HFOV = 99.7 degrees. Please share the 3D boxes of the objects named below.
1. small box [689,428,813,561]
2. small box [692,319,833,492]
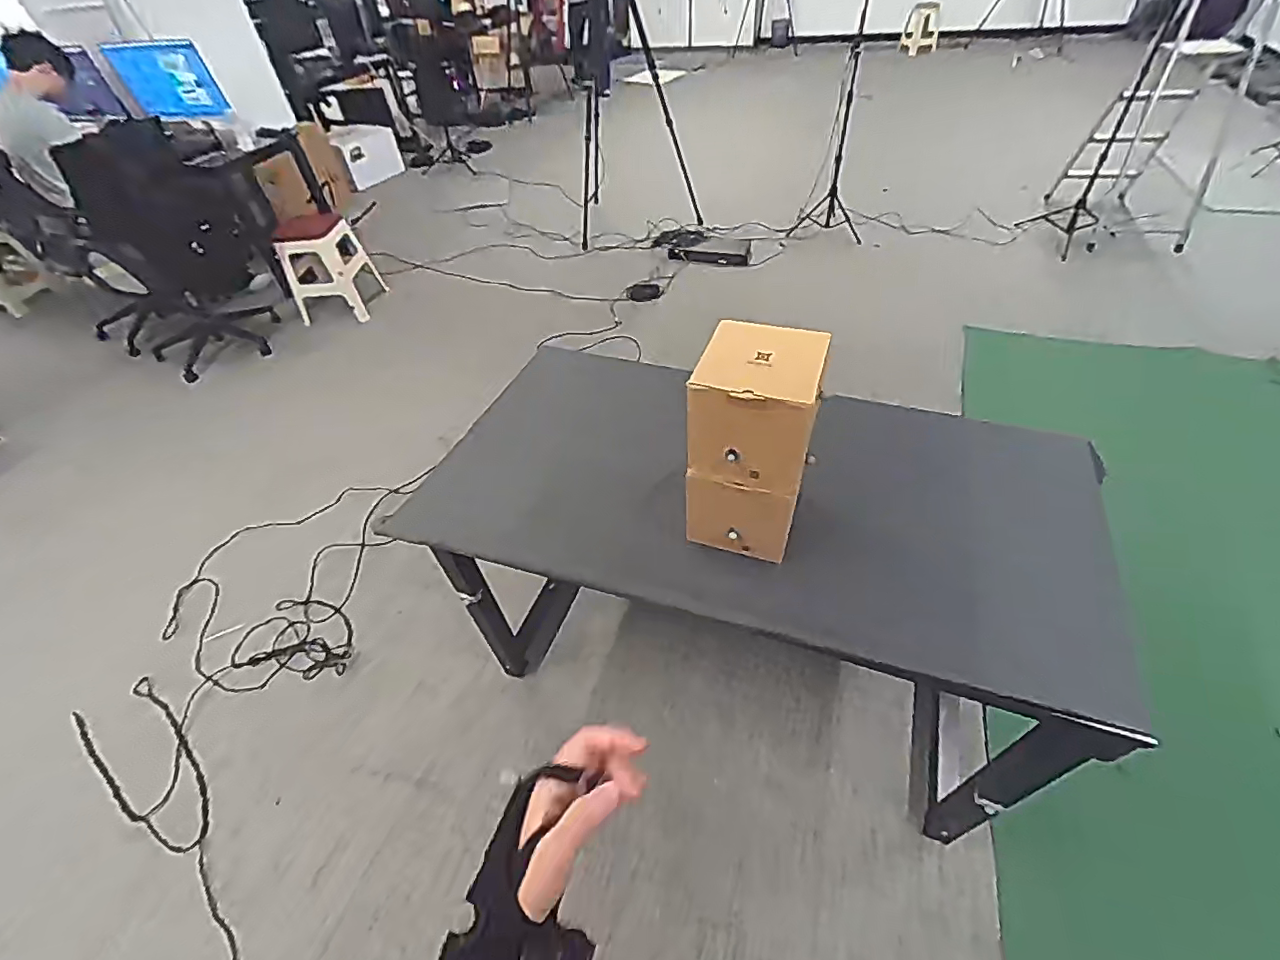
[{"bbox_3d":[0.184,0.006,0.916,0.168,0.176,0.179,13,48,17],"label":"small box"},{"bbox_3d":[0.176,-0.111,0.804,0.168,0.176,0.179,14,49,16],"label":"small box"}]
